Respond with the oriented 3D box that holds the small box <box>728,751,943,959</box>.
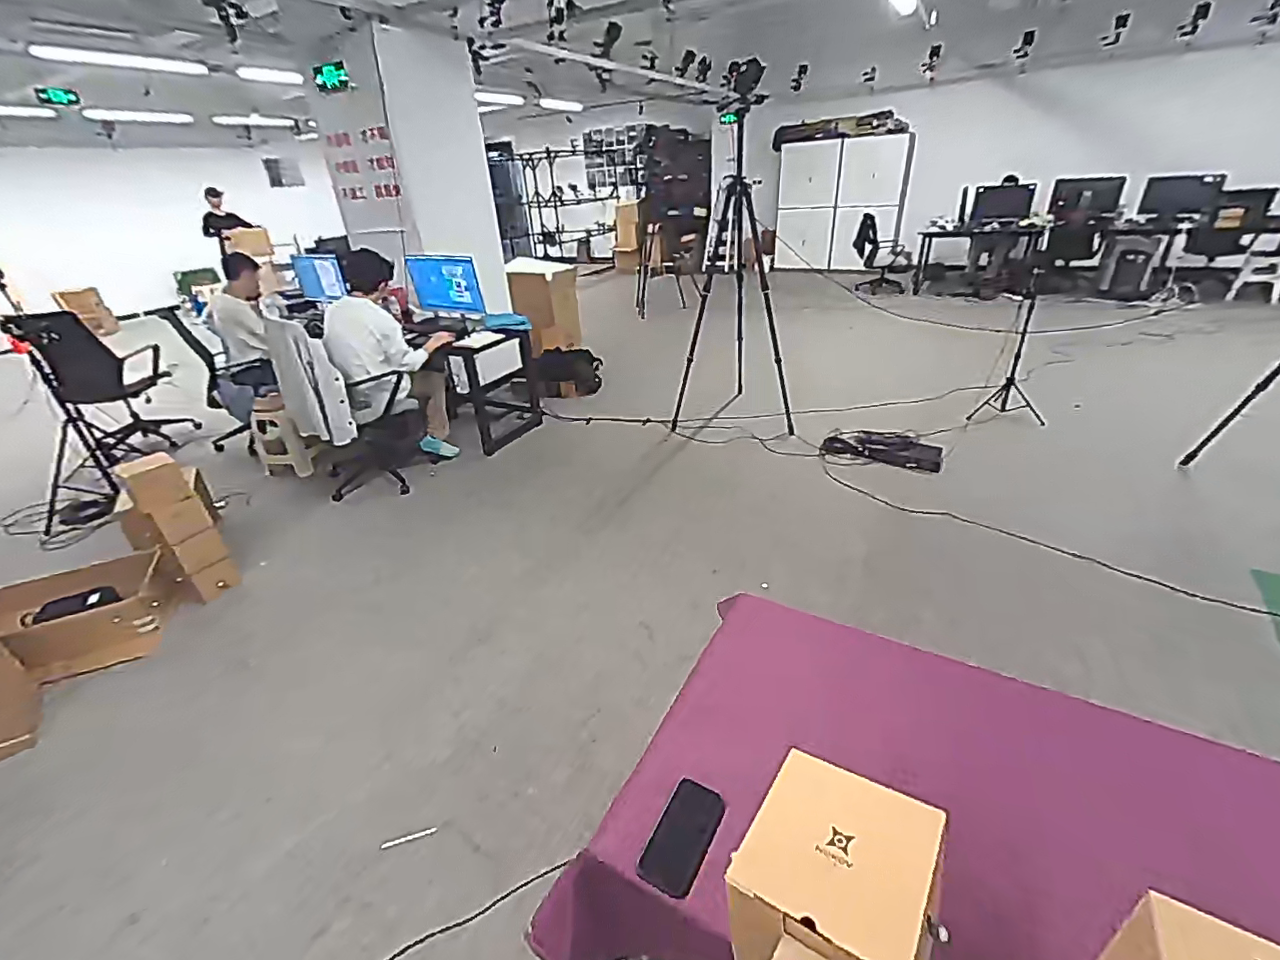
[{"bbox_3d":[0.208,0.442,0.573,0.168,0.176,0.179,8,27,36],"label":"small box"}]
